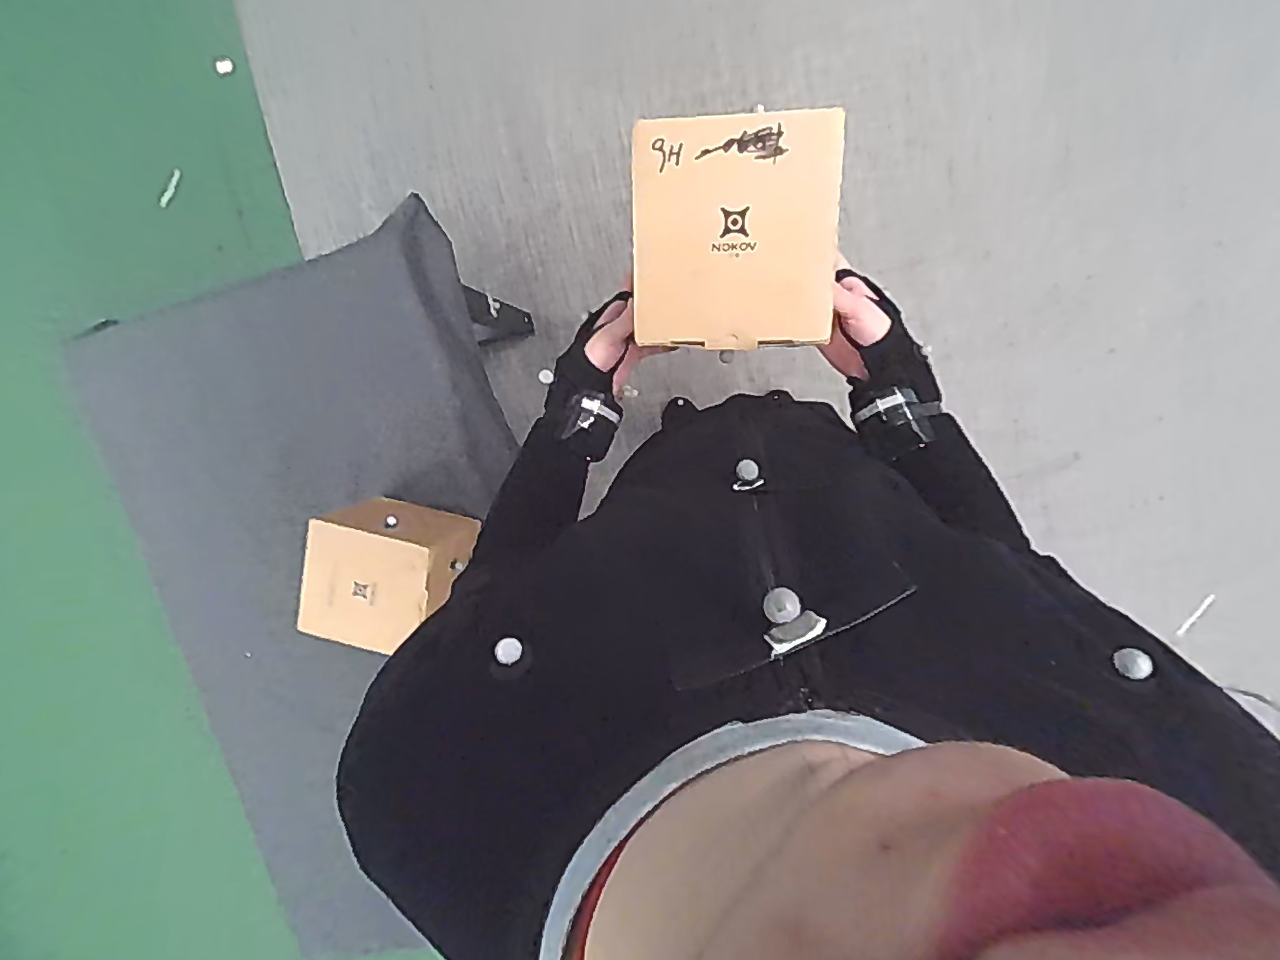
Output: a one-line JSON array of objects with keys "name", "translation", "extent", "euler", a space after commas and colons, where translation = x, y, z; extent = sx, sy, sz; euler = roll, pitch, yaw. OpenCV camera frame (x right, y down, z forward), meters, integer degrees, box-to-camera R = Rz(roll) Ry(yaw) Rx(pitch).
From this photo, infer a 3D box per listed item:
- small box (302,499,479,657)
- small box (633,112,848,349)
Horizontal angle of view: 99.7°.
[{"name": "small box", "translation": [-0.361, 0.134, 0.809], "extent": [0.179, 0.176, 0.168], "euler": [13, 100, 5]}, {"name": "small box", "translation": [0.084, -0.217, 0.513], "extent": [0.168, 0.176, 0.179], "euler": [1, 104, 5]}]
